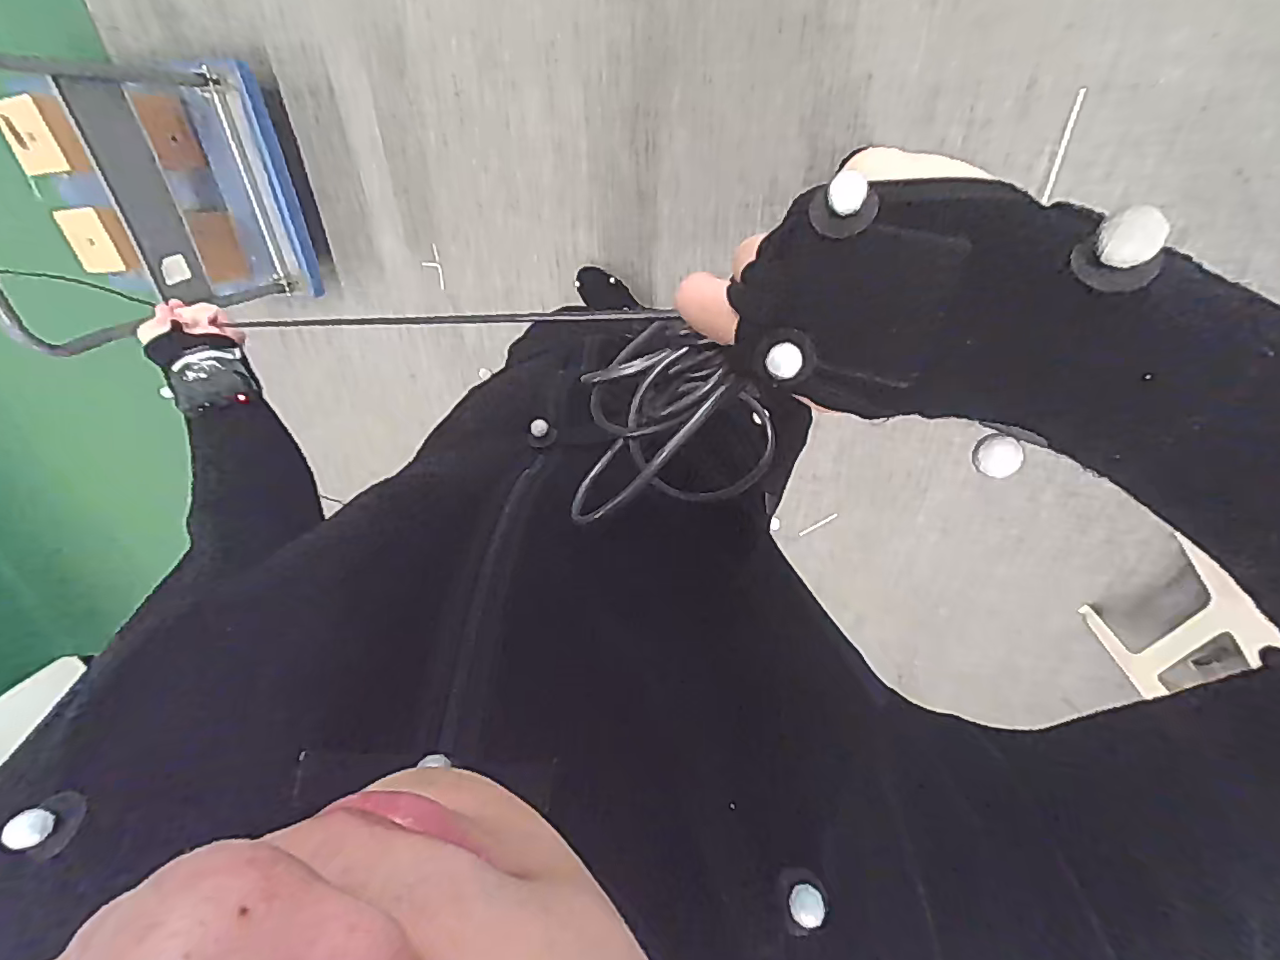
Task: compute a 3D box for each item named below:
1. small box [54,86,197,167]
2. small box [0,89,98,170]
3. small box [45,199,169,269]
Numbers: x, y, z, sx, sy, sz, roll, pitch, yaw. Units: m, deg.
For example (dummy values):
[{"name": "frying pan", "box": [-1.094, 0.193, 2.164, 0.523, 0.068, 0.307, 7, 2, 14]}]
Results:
[{"name": "small box", "box": [-1.297, -0.896, 1.378, 0.179, 0.176, 0.168, 8, 124, 13]}, {"name": "small box", "box": [-1.556, -0.932, 1.445, 0.179, 0.176, 0.168, 4, 123, 16]}, {"name": "small box", "box": [-1.534, -0.718, 1.575, 0.179, 0.176, 0.168, 5, 122, 17]}]
